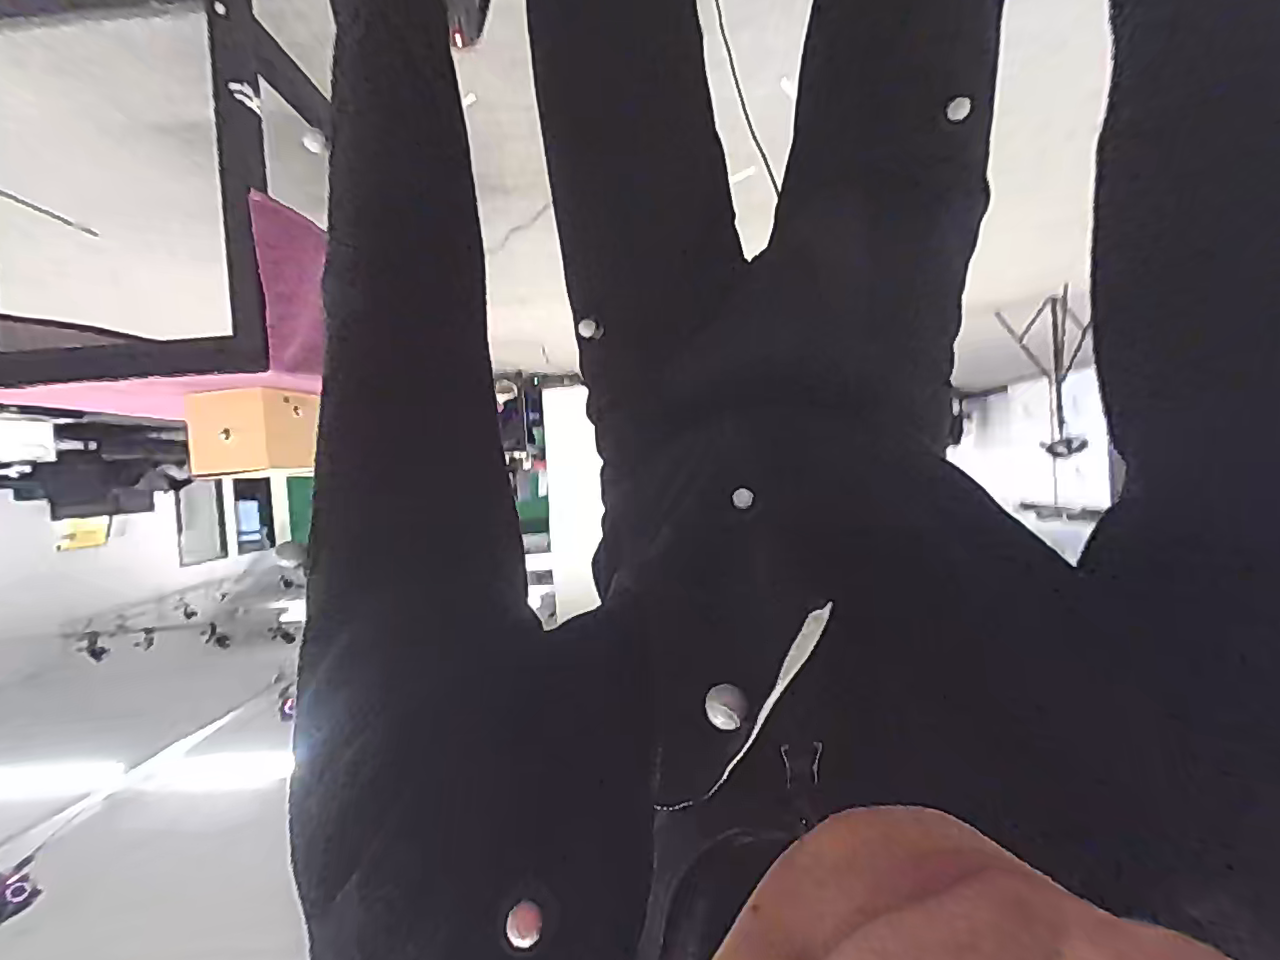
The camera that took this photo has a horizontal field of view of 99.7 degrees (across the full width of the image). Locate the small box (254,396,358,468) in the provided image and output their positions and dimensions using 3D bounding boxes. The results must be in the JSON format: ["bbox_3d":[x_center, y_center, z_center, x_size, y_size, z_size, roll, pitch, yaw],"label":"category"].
[{"bbox_3d":[-0.876,-0.122,1.422,0.179,0.176,0.168,-5,-178,5],"label":"small box"}]
